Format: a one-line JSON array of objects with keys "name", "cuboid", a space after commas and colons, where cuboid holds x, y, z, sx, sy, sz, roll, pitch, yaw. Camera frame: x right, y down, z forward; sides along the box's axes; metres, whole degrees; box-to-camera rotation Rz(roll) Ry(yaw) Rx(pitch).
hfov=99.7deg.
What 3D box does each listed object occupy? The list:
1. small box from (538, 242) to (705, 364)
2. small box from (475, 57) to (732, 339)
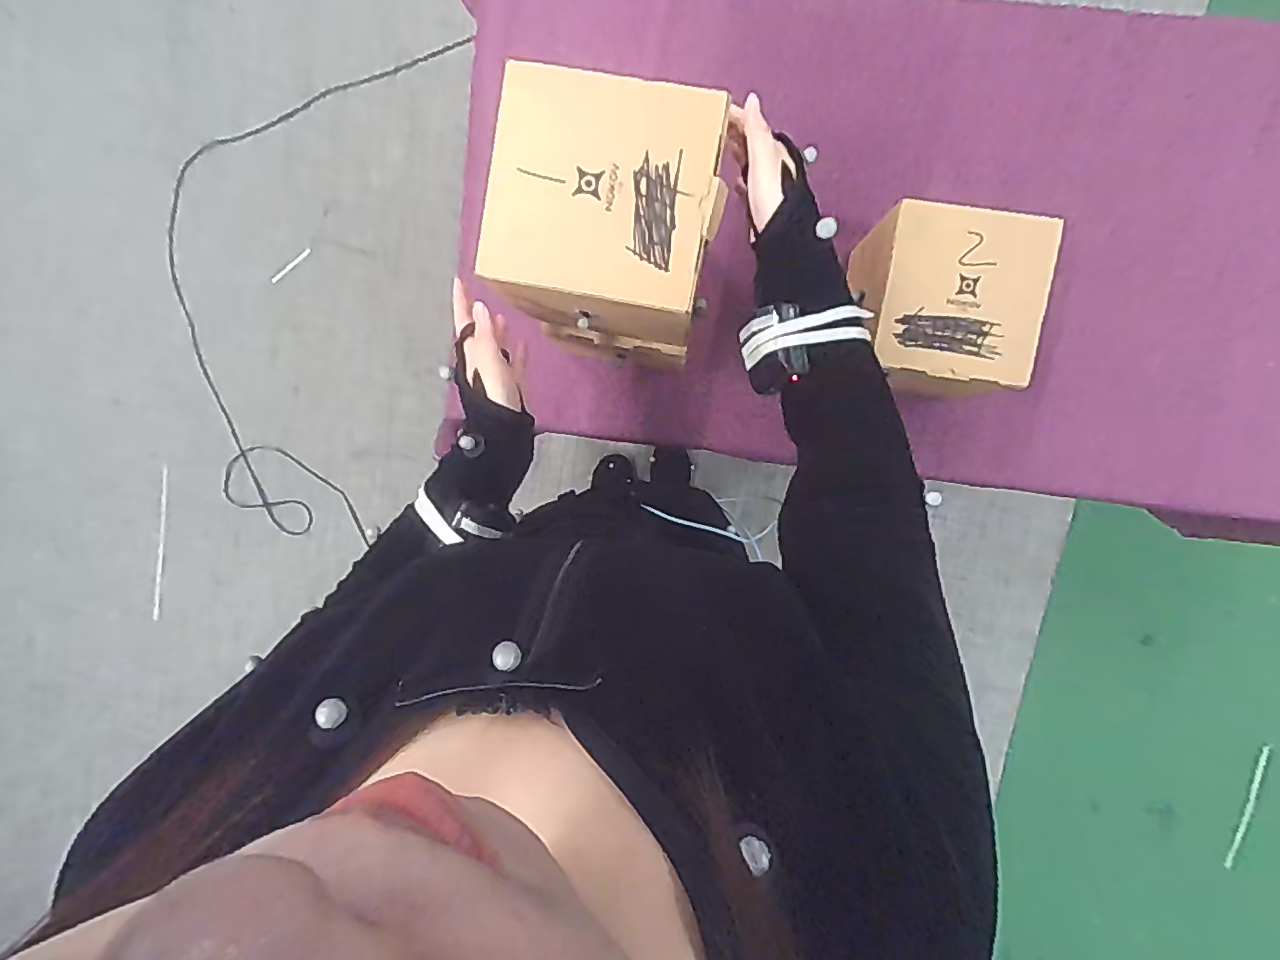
[{"name": "small box", "cuboid": [-0.014, -0.246, 0.662, 0.168, 0.176, 0.179, 11, 97, 1]}, {"name": "small box", "cuboid": [-0.027, -0.234, 0.497, 0.179, 0.176, 0.168, 12, 96, 2]}]
